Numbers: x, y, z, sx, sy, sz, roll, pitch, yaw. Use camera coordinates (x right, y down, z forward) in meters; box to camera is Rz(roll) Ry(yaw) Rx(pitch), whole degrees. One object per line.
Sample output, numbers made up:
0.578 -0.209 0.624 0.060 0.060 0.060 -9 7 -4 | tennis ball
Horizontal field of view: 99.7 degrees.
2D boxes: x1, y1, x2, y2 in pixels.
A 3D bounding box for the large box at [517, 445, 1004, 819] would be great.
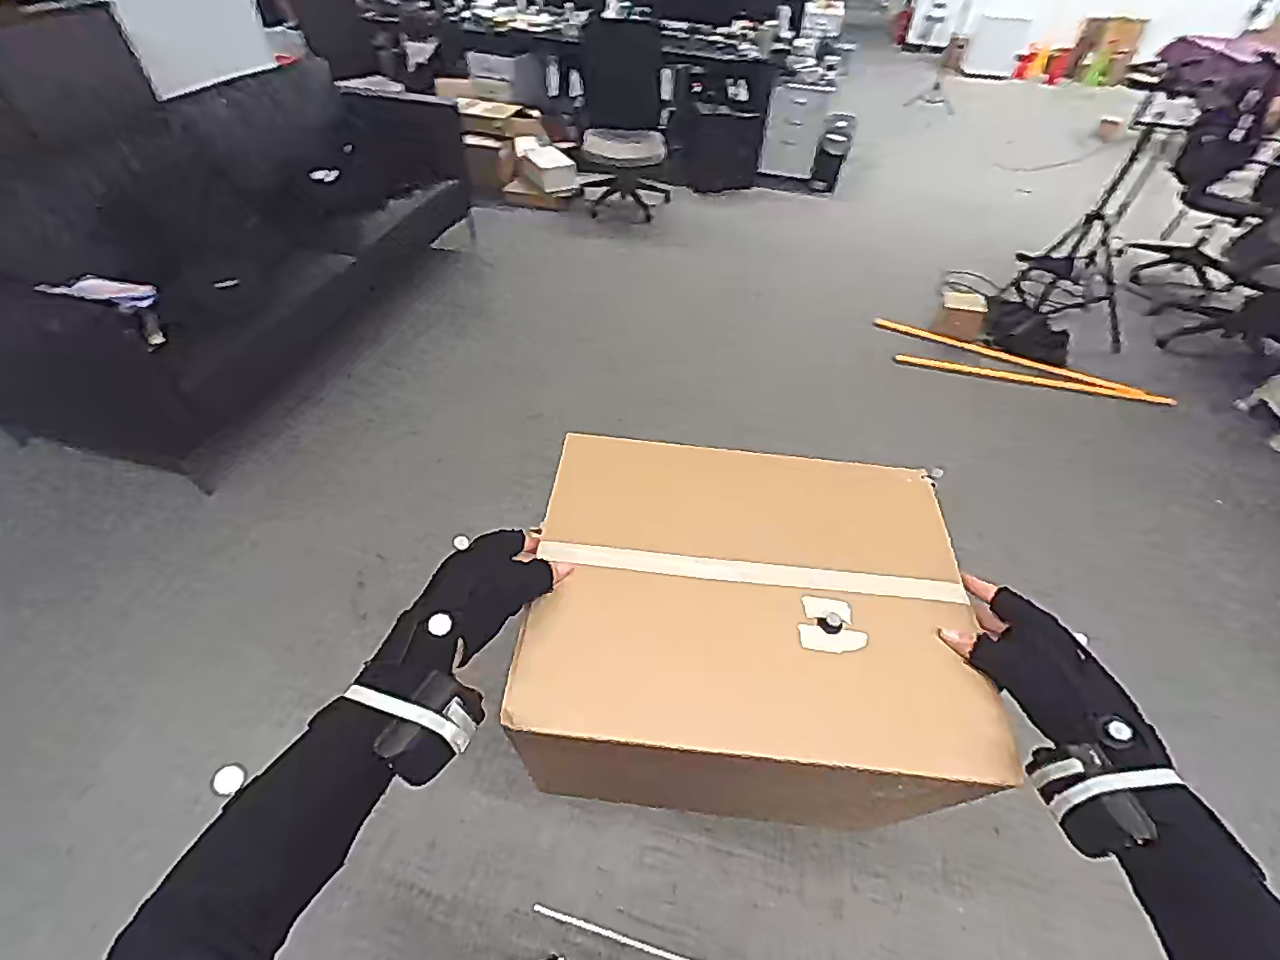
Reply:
0.095 0.188 0.639 0.408 0.320 0.320 6 52 0 | large box
